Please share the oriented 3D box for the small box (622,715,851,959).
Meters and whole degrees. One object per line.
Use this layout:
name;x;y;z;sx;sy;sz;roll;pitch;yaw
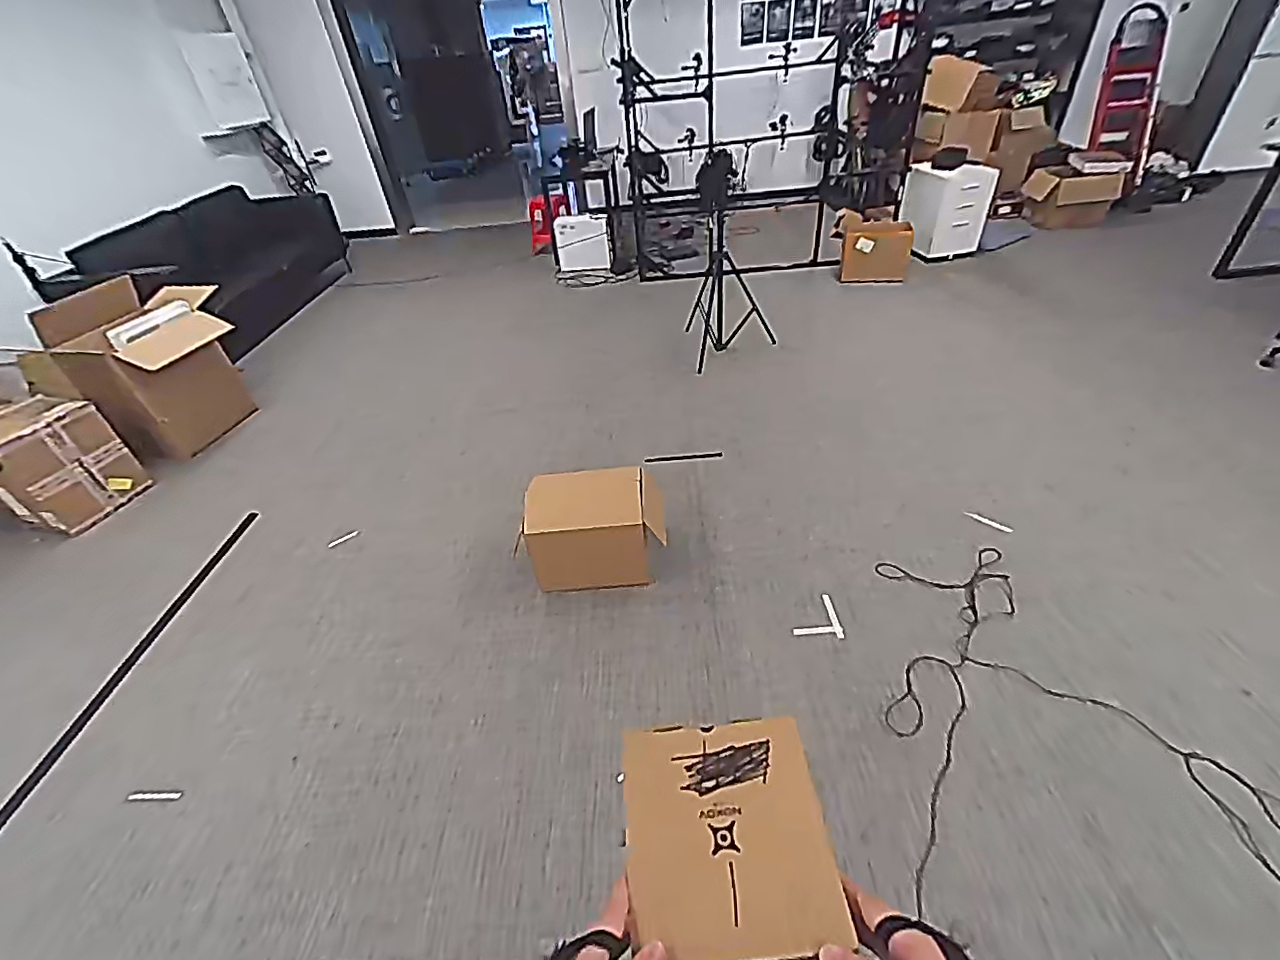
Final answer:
small box;0.074;0.350;0.505;0.168;0.176;0.179;-7;40;0
